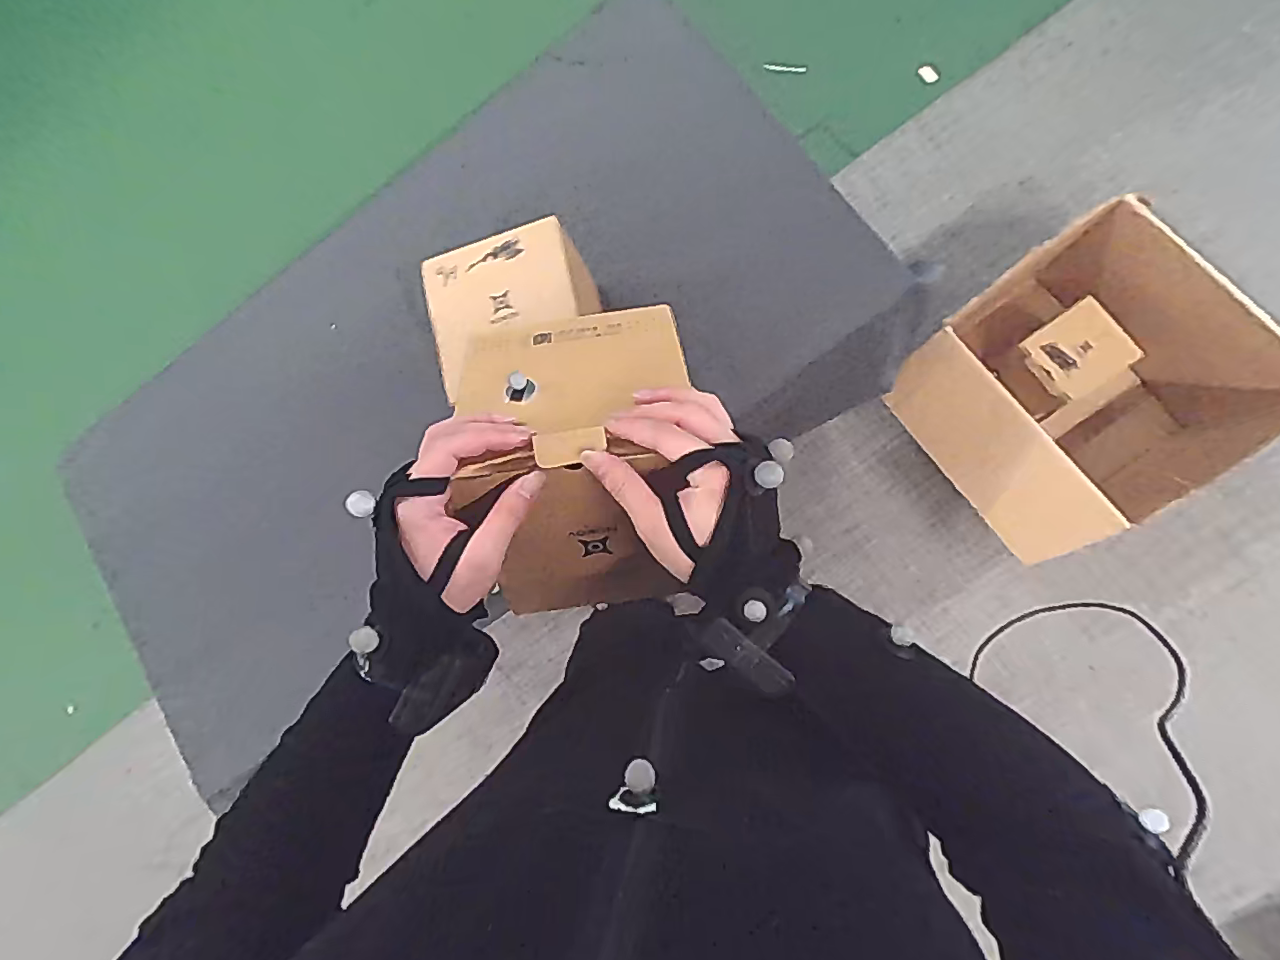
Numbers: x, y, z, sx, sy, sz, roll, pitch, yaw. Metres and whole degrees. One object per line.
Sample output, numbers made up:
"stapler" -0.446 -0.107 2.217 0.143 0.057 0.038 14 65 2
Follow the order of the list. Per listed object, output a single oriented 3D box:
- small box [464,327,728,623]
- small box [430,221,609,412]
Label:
"small box" -0.030 -0.009 0.439 0.168 0.179 0.176 -7 48 -1
"small box" -0.130 -0.178 0.676 0.168 0.176 0.179 -15 82 9
